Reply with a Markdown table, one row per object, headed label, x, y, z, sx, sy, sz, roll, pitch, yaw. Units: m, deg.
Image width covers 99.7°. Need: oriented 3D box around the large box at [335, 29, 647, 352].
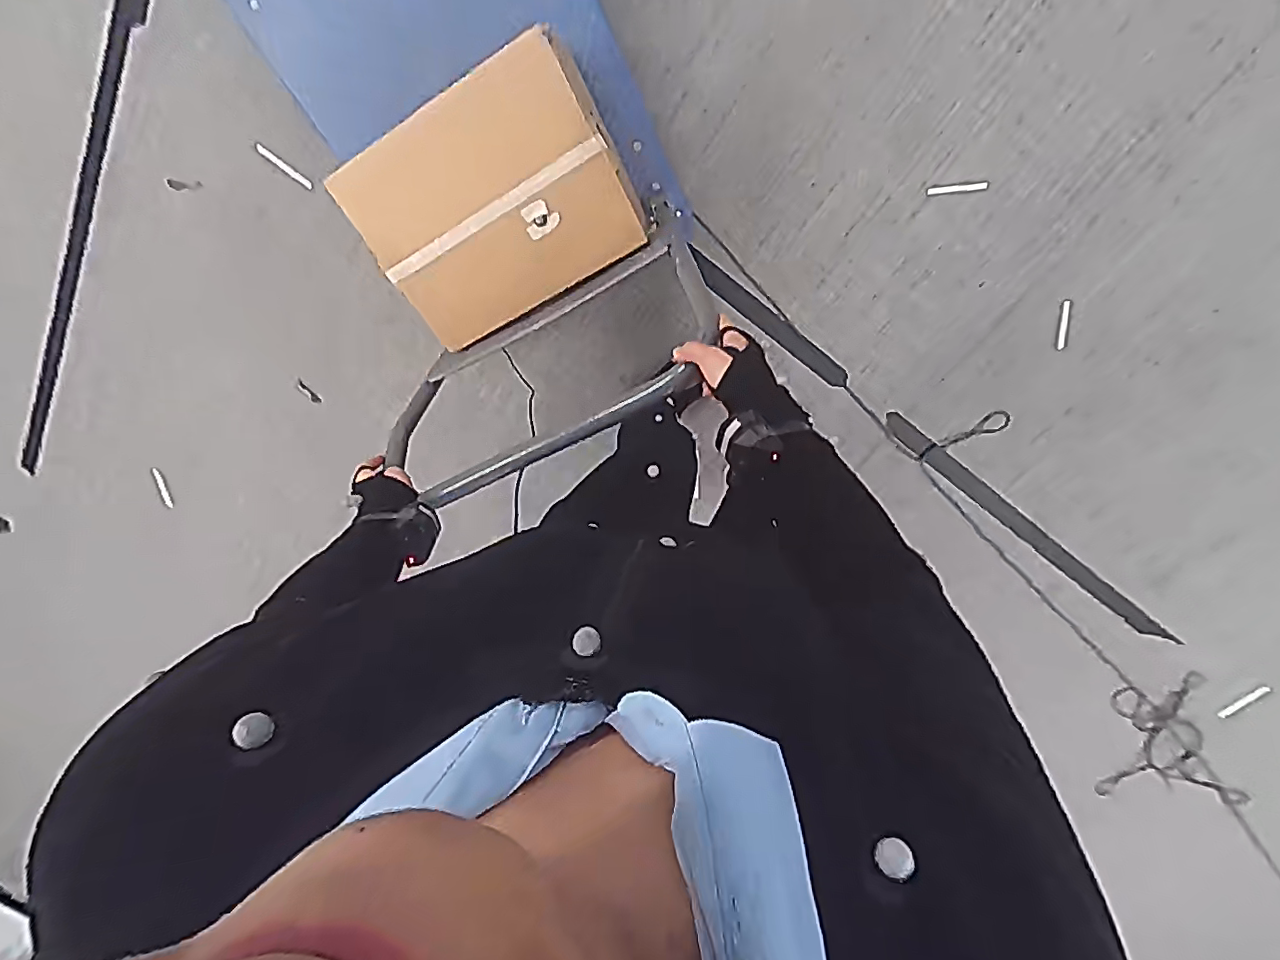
| label | x | y | z | sx | sy | sz | roll | pitch | yaw |
| --- | --- | --- | --- | --- | --- | --- | --- | --- | --- |
| large box | -0.234 | -0.500 | 0.982 | 0.408 | 0.320 | 0.320 | -25 | 120 | 14 |
